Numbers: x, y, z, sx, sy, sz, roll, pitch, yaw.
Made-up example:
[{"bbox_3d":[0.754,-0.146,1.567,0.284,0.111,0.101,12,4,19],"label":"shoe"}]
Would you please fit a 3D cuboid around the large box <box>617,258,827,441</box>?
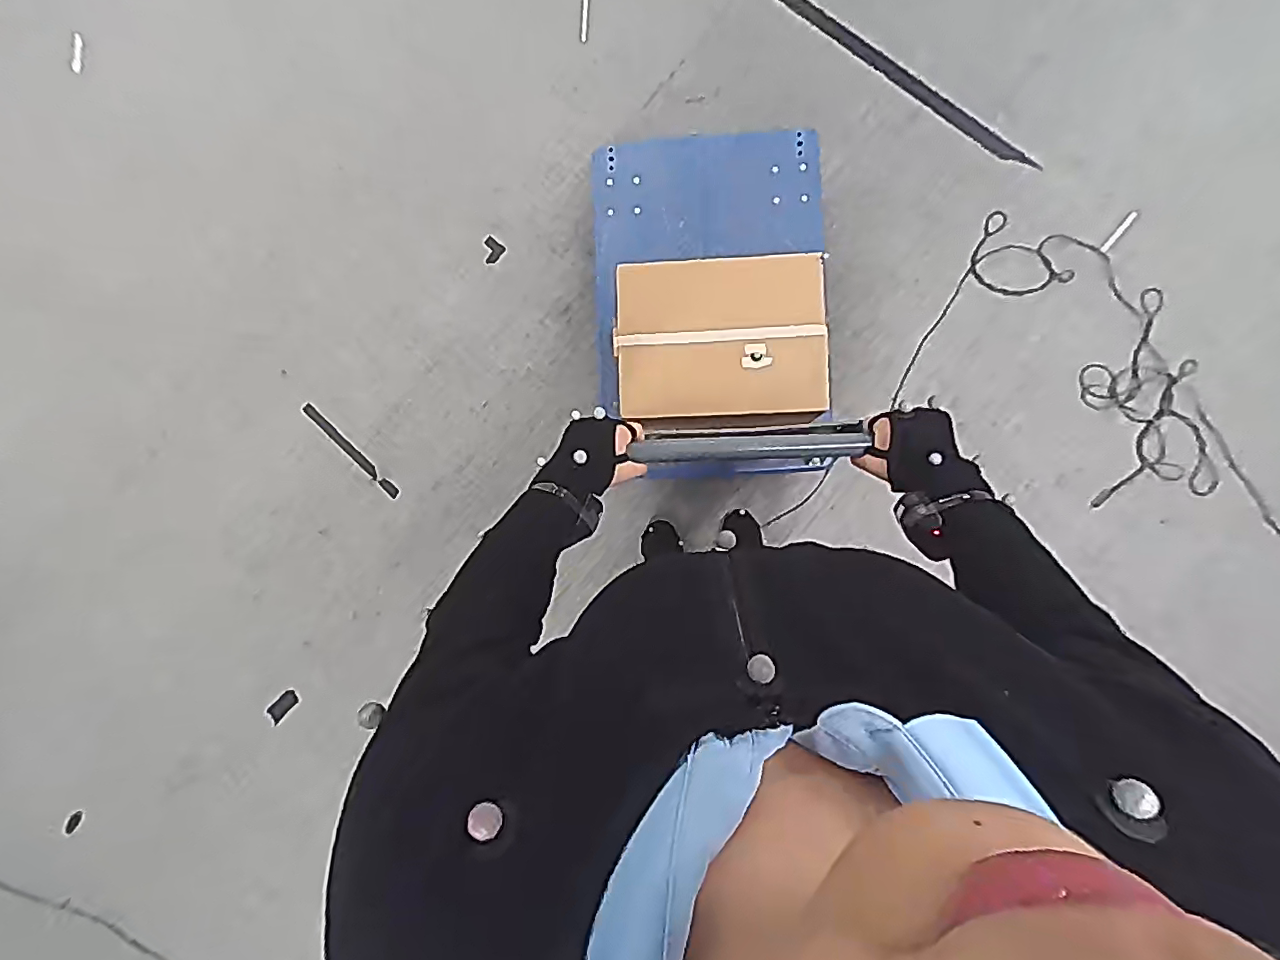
[{"bbox_3d":[0.165,-0.266,1.208,0.408,0.320,0.320,-2,88,3],"label":"large box"}]
